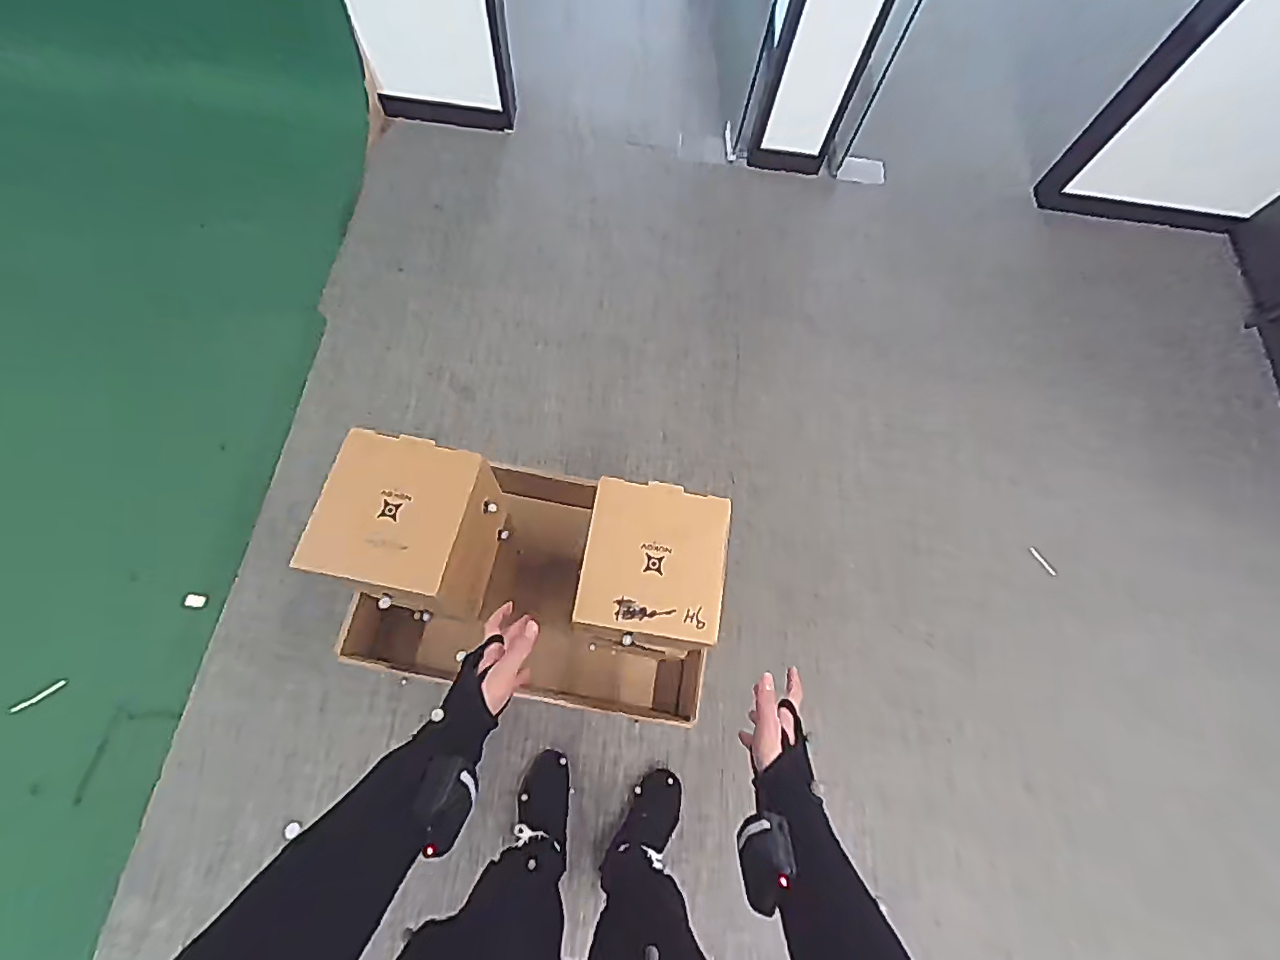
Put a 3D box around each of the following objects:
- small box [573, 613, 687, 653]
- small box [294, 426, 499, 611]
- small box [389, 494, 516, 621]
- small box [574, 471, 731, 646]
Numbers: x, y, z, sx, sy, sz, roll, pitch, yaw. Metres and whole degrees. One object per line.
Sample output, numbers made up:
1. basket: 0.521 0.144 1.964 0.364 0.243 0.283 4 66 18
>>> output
1. small box: -0.002 0.169 0.852 0.168 0.176 0.179 12 70 -1
2. small box: -0.290 0.058 0.695 0.168 0.176 0.179 12 69 1
3. small box: -0.302 0.112 0.848 0.168 0.176 0.179 12 70 1
4. small box: 0.011 0.110 0.700 0.168 0.176 0.179 10 70 -2
